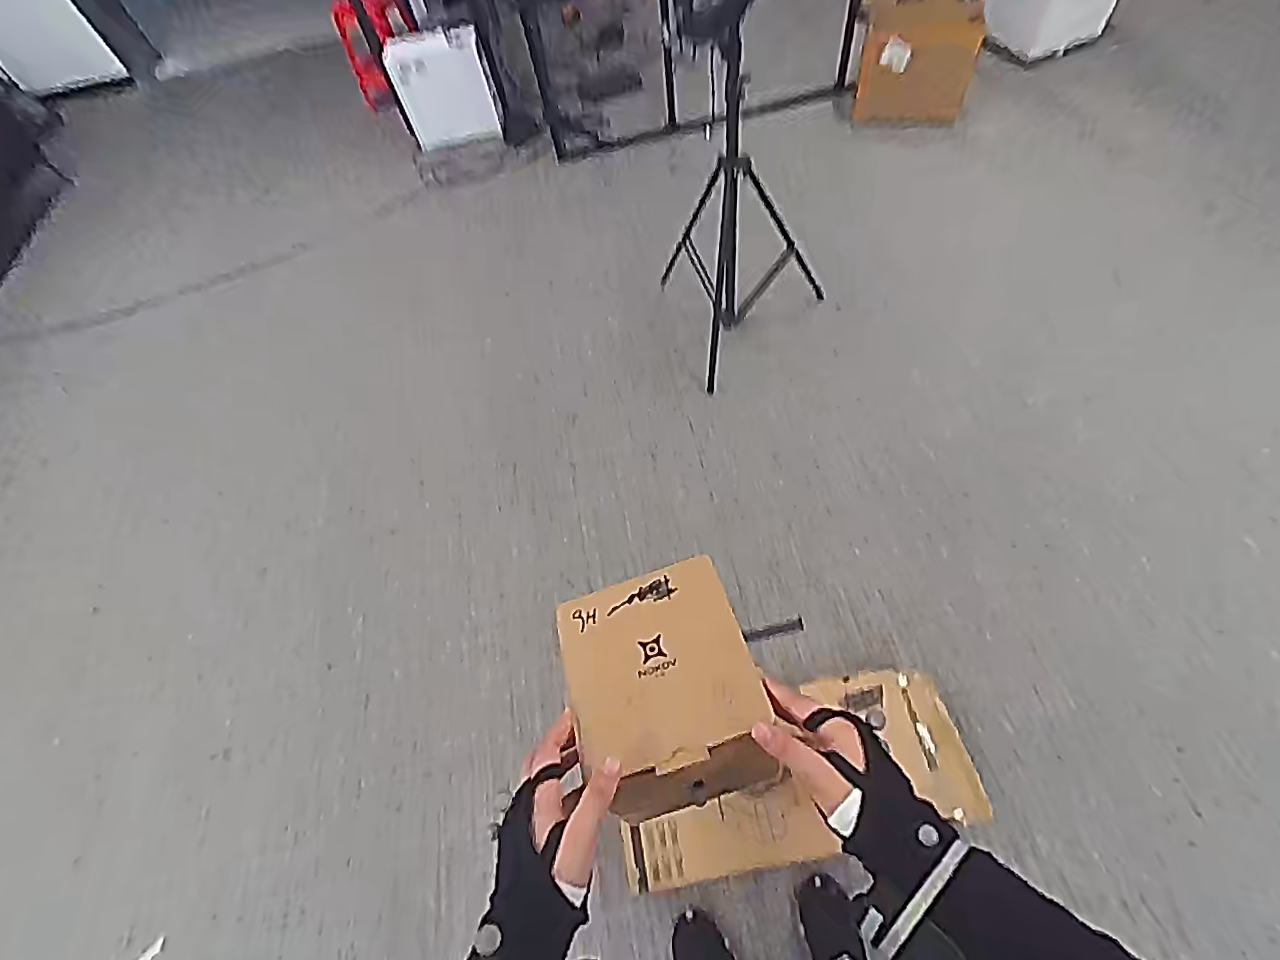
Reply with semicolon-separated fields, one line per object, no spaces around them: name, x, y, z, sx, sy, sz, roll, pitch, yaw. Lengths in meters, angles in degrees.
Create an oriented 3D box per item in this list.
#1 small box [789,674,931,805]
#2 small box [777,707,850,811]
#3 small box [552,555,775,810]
small box;0.368;0.457;0.944;0.168;0.176;0.179;-10;58;3
small box;0.381;0.546;1.081;0.168;0.176;0.179;-13;57;1
small box;0.027;0.208;0.538;0.168;0.176;0.179;-19;51;0
